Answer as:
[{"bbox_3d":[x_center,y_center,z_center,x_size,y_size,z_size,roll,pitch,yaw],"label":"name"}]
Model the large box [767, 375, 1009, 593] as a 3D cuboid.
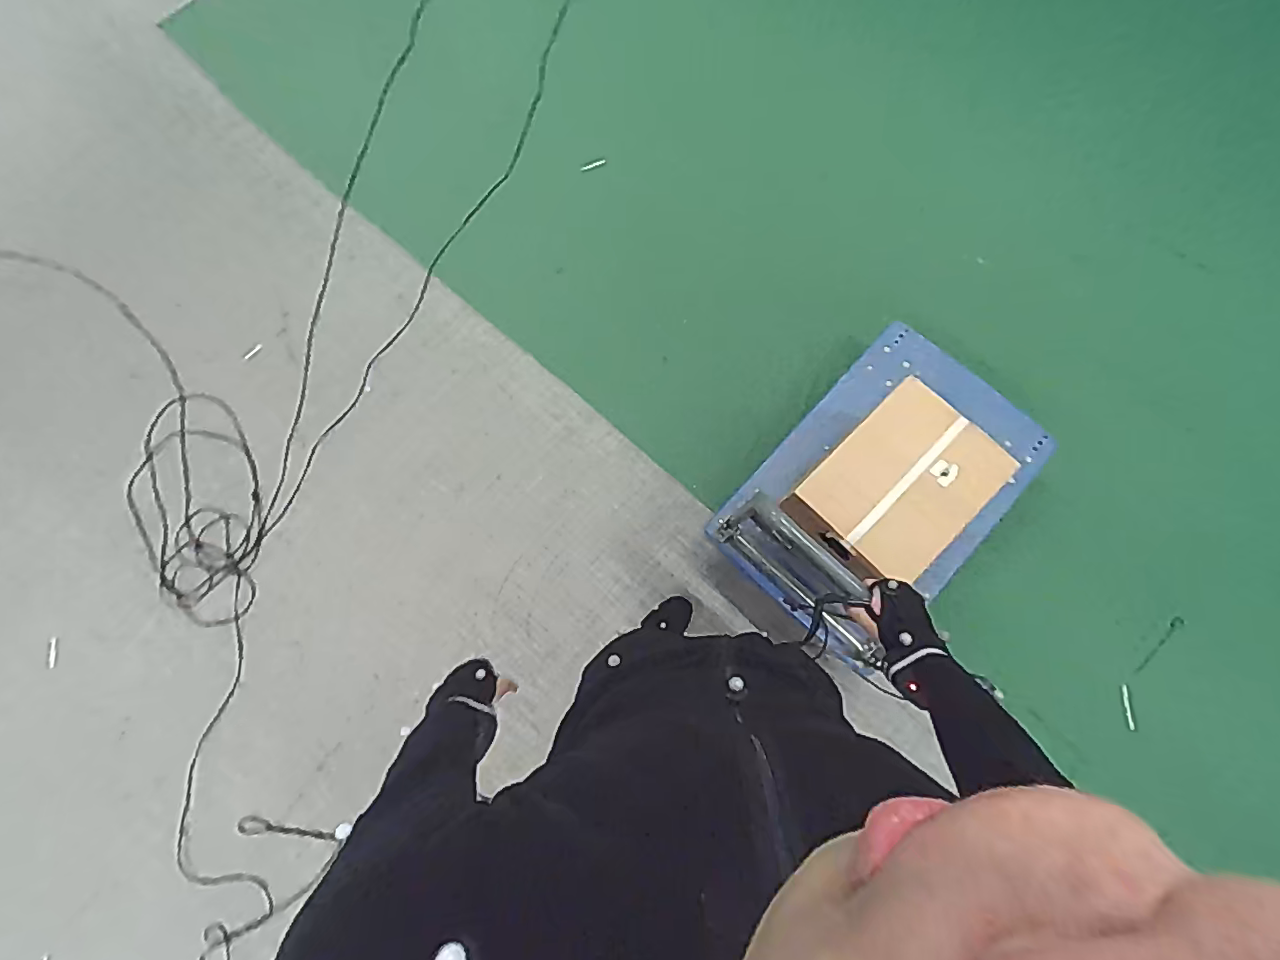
[{"bbox_3d":[0.584,0.029,1.346,0.408,0.320,0.320,-43,80,-8],"label":"large box"}]
